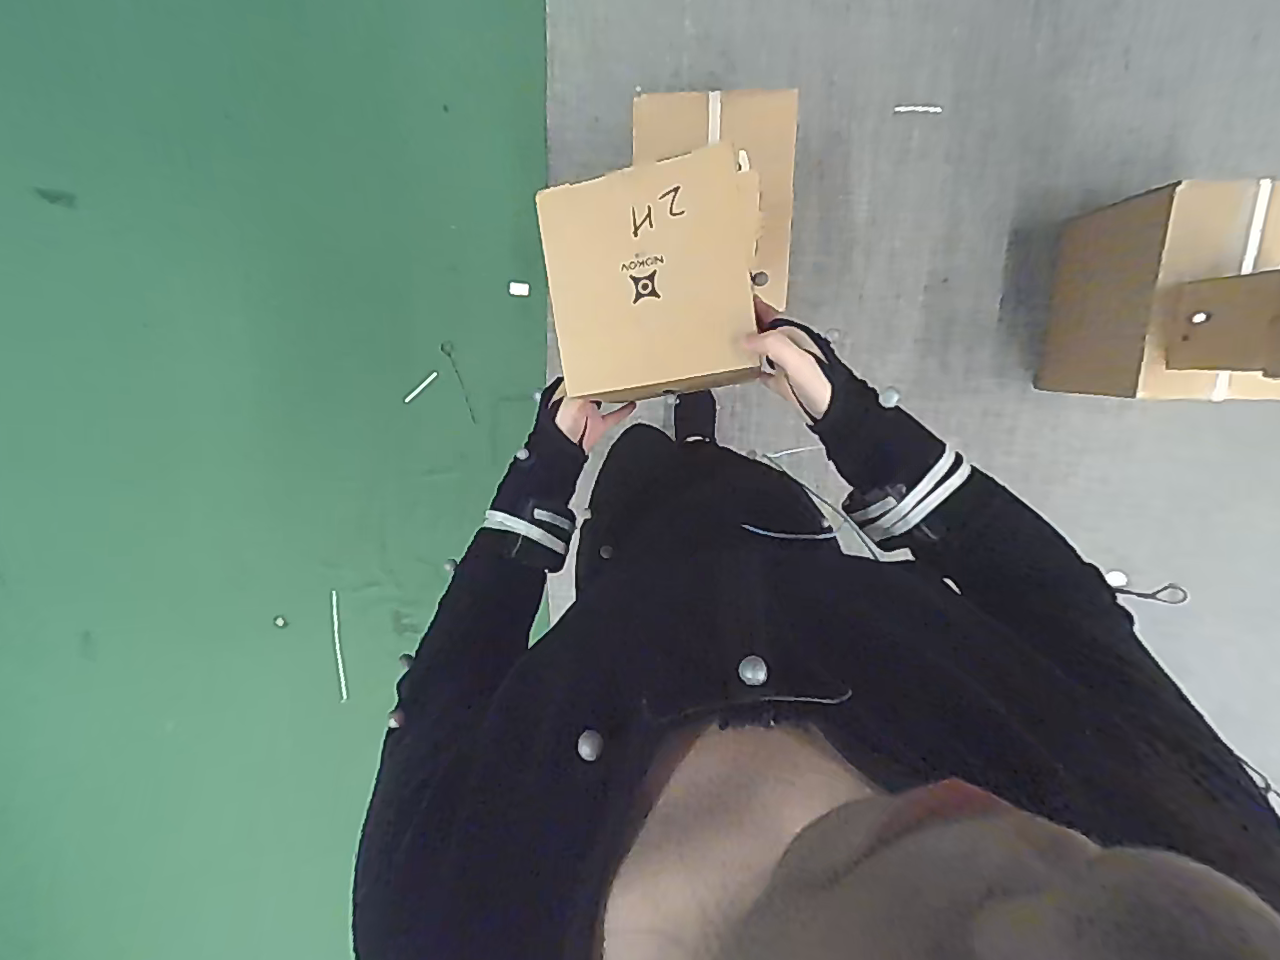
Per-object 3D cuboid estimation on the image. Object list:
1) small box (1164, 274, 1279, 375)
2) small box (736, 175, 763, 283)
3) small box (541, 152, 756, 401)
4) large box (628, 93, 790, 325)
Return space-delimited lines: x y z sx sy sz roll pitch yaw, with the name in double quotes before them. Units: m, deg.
"small box" 1.125 -0.279 0.978 0.179 0.176 0.168 -1 103 4
"small box" 0.116 -0.439 0.980 0.179 0.176 0.168 4 102 4
"small box" 0.022 -0.173 0.525 0.168 0.176 0.179 -7 94 12
"large box" 0.141 -0.559 1.204 0.320 0.320 0.408 1 102 2
